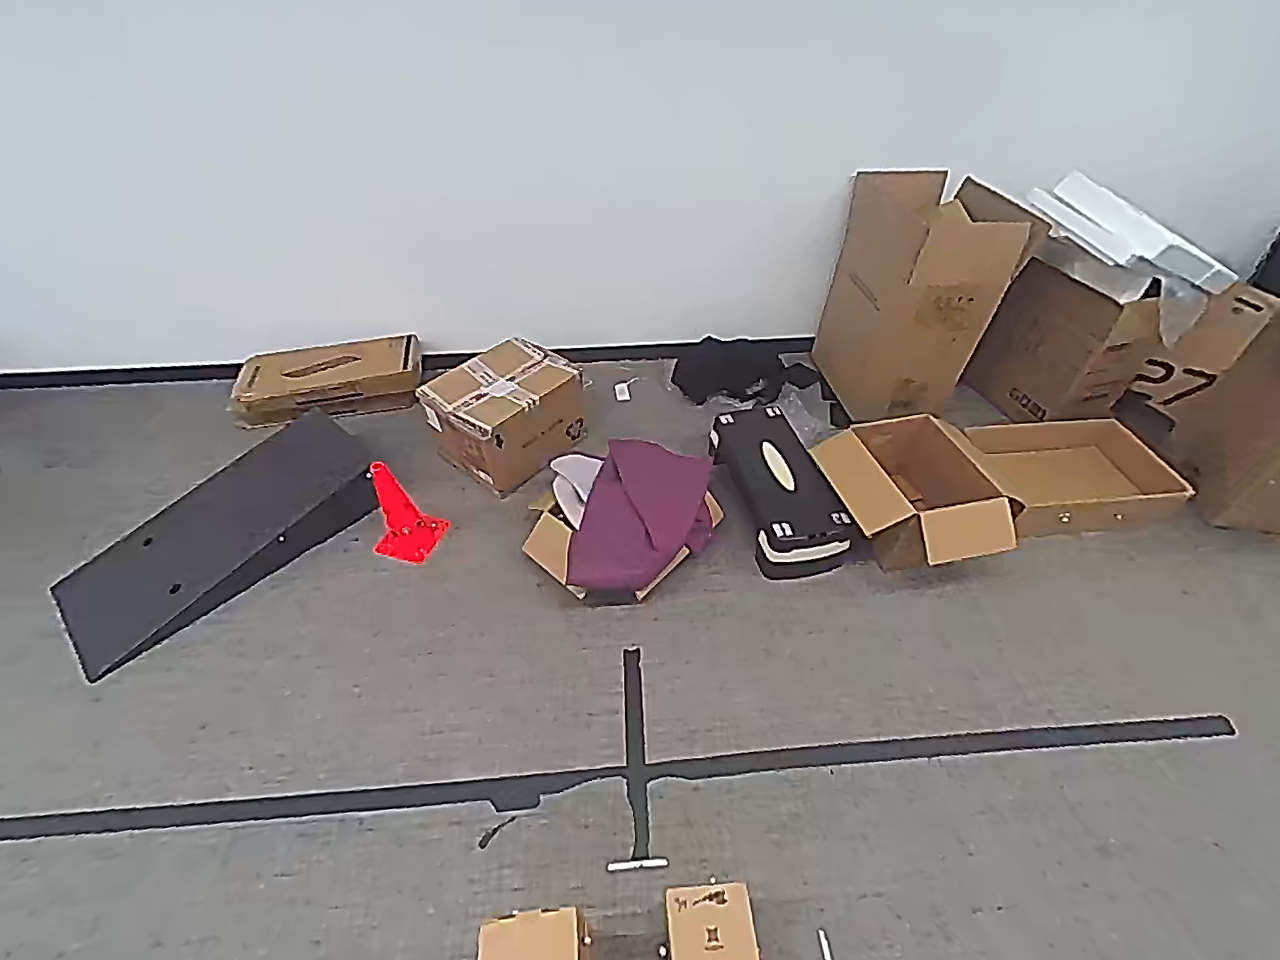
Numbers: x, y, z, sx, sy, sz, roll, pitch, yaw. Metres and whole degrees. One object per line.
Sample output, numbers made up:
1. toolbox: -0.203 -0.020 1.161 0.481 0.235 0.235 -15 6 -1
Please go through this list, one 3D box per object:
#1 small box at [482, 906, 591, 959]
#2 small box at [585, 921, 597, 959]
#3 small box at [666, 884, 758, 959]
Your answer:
1. small box: -0.173 0.861 0.925 0.168 0.176 0.179 -7 47 -4
2. small box: -0.176 0.975 1.042 0.179 0.176 0.168 -4 45 -4
3. small box: 0.141 0.932 1.081 0.168 0.176 0.179 -3 46 -2
